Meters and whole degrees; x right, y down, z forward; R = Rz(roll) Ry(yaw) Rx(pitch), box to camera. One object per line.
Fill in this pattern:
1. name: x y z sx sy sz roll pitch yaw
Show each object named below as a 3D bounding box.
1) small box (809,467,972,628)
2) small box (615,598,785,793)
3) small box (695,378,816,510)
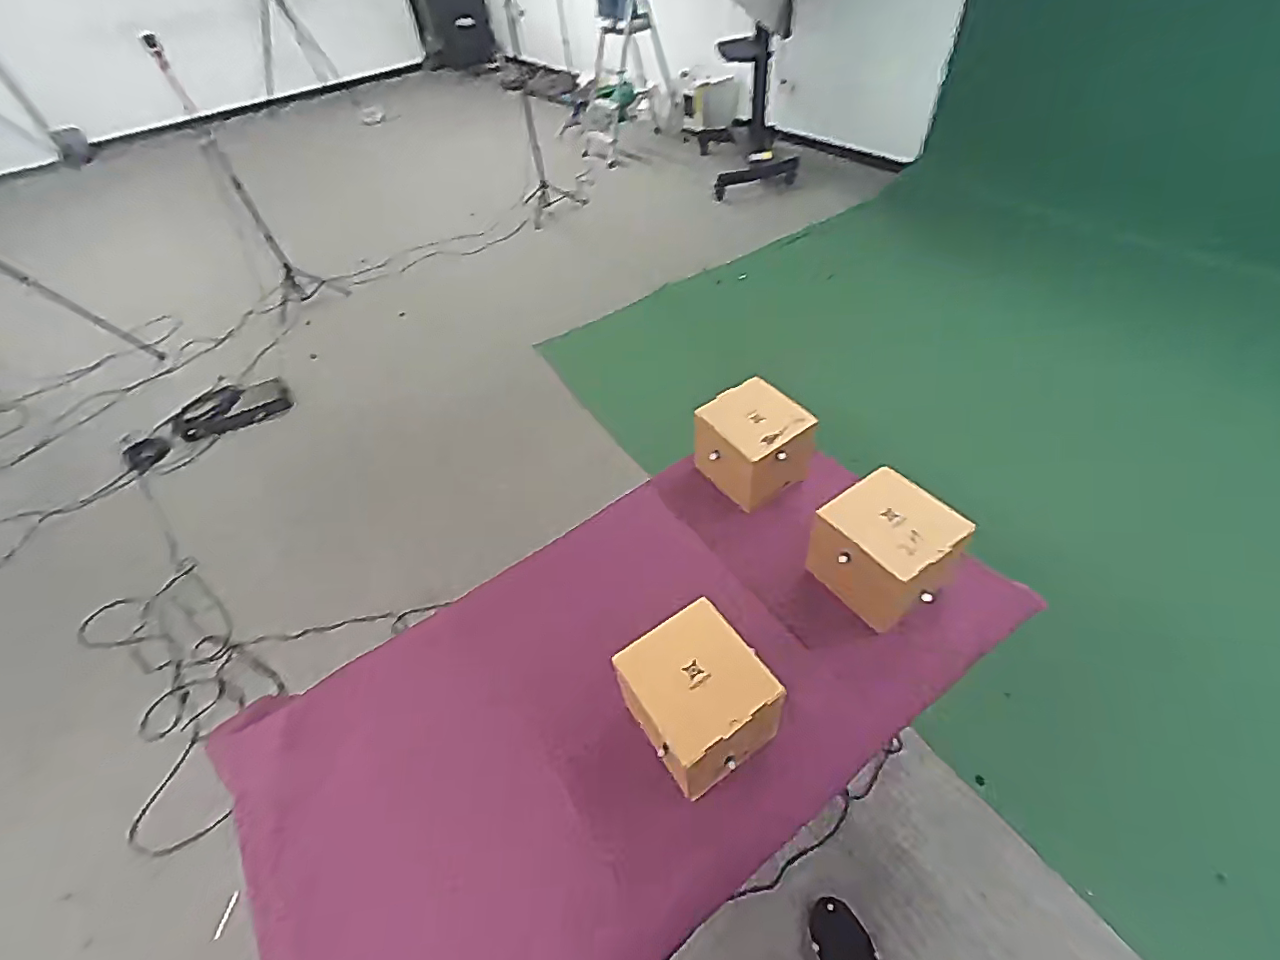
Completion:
1. small box: 0.410 0.115 0.920 0.168 0.176 0.179 -30 51 -17
2. small box: 0.083 0.314 0.789 0.168 0.176 0.179 -29 51 -19
3. small box: 0.228 -0.072 1.108 0.168 0.176 0.179 -32 54 -17
